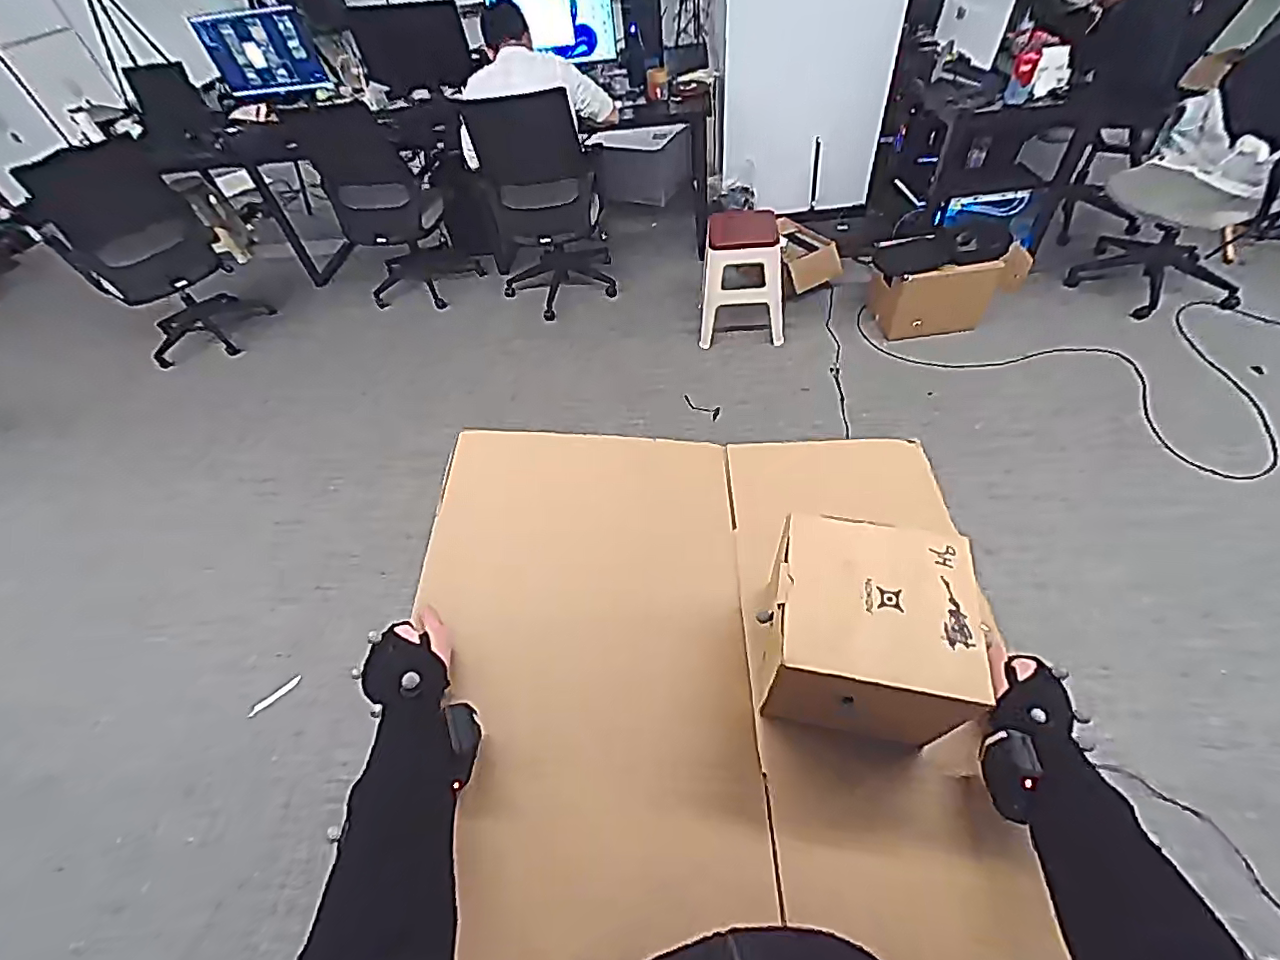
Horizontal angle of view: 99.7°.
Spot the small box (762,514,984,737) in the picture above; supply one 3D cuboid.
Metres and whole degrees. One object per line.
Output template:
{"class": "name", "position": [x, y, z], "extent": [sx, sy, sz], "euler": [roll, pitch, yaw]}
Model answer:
{"class": "small box", "position": [0.230, 0.158, 0.578], "extent": [0.179, 0.176, 0.168], "euler": [7, 54, 11]}
